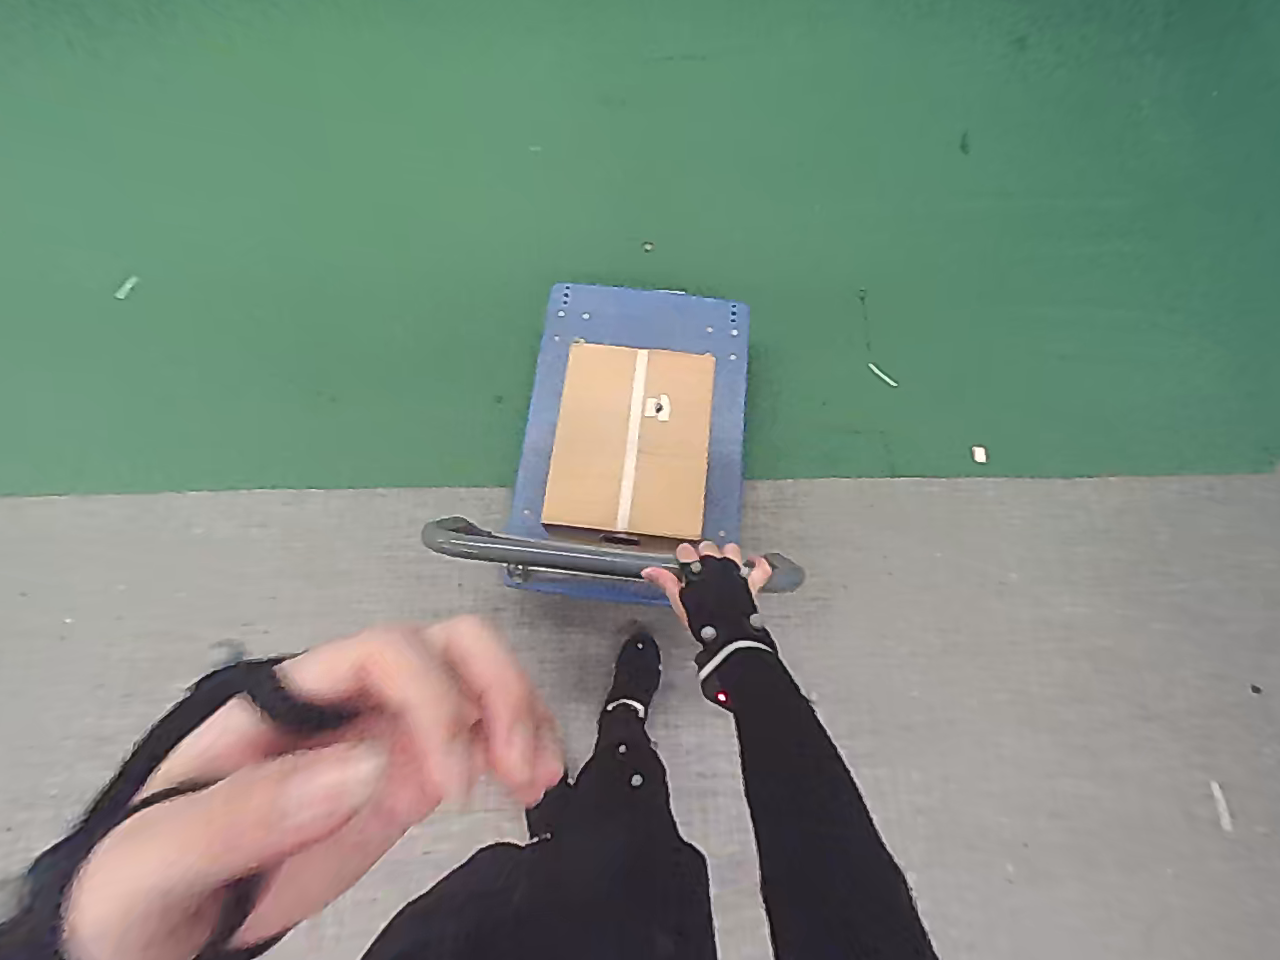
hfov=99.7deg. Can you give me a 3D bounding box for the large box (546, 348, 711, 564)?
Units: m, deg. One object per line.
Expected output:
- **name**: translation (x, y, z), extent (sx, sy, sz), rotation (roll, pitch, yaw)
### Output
- **large box**: translation (-0.016, -0.037, 1.243), extent (0.320, 0.320, 0.408), rotation (6, 71, 1)
